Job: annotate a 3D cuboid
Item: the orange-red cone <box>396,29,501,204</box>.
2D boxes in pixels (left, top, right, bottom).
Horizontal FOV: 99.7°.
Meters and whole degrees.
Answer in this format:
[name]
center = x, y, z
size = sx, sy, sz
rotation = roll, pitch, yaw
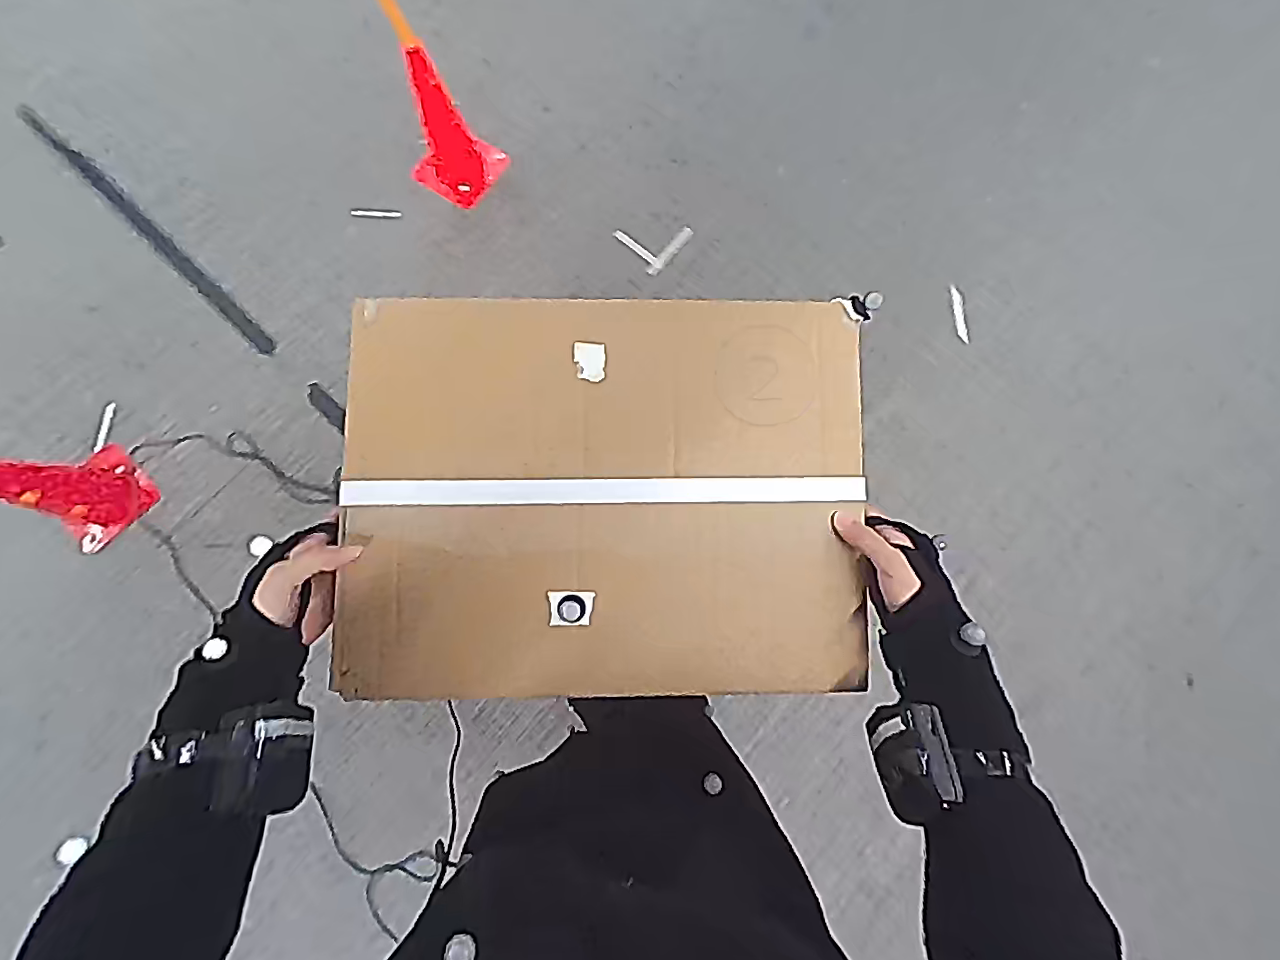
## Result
[orange-red cone]
center = -0.496, -0.889, 1.293
size = 0.198, 0.360, 0.199
rotation = 33, 80, 4
